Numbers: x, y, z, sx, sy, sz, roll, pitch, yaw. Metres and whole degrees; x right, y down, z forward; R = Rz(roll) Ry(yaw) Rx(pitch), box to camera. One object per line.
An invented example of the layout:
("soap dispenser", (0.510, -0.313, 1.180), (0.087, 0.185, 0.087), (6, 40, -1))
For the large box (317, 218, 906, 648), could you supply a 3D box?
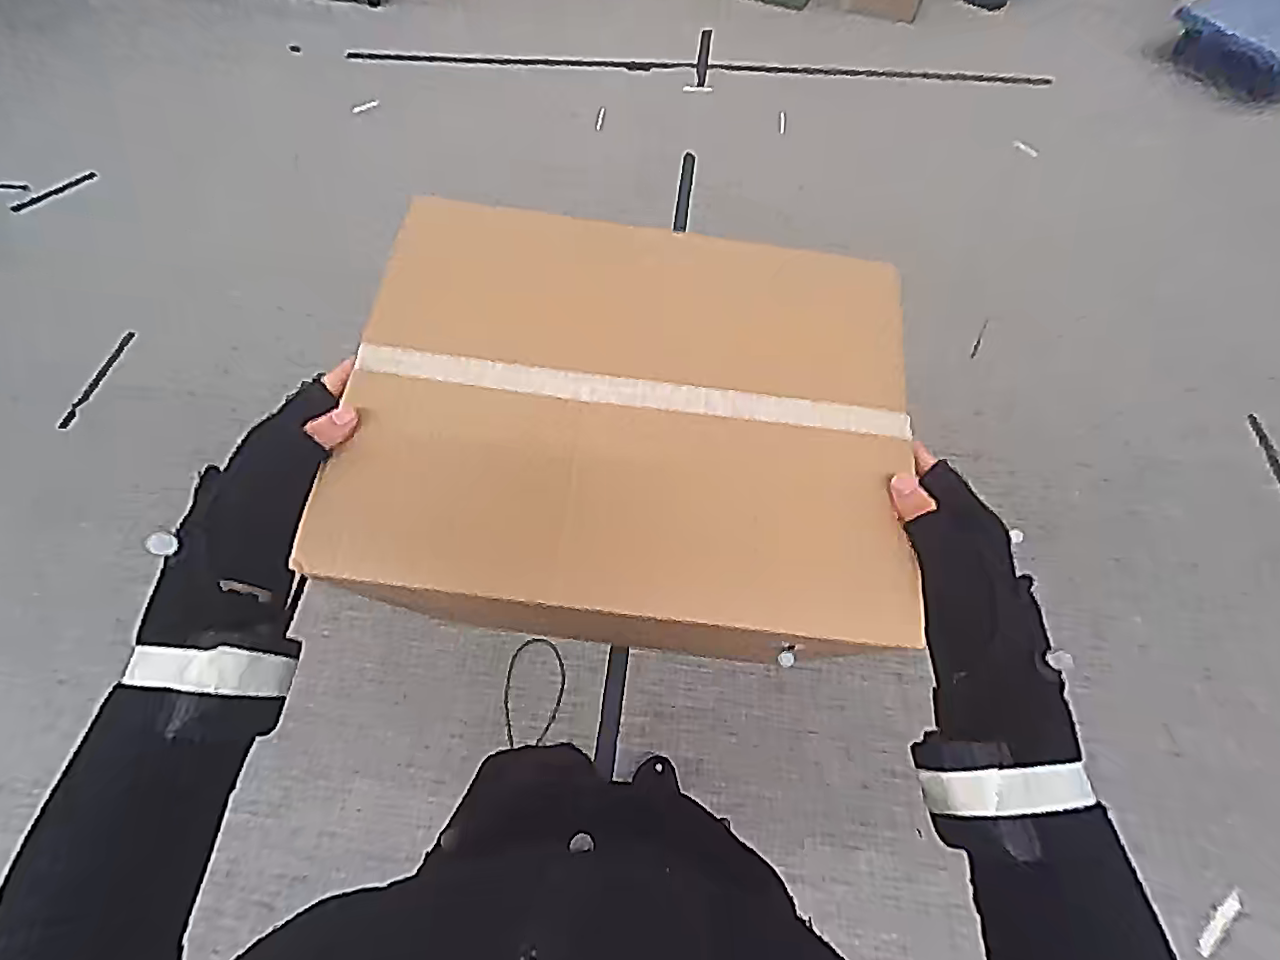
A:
("large box", (-0.009, -0.008, 0.547), (0.408, 0.320, 0.320), (7, 70, -1))
